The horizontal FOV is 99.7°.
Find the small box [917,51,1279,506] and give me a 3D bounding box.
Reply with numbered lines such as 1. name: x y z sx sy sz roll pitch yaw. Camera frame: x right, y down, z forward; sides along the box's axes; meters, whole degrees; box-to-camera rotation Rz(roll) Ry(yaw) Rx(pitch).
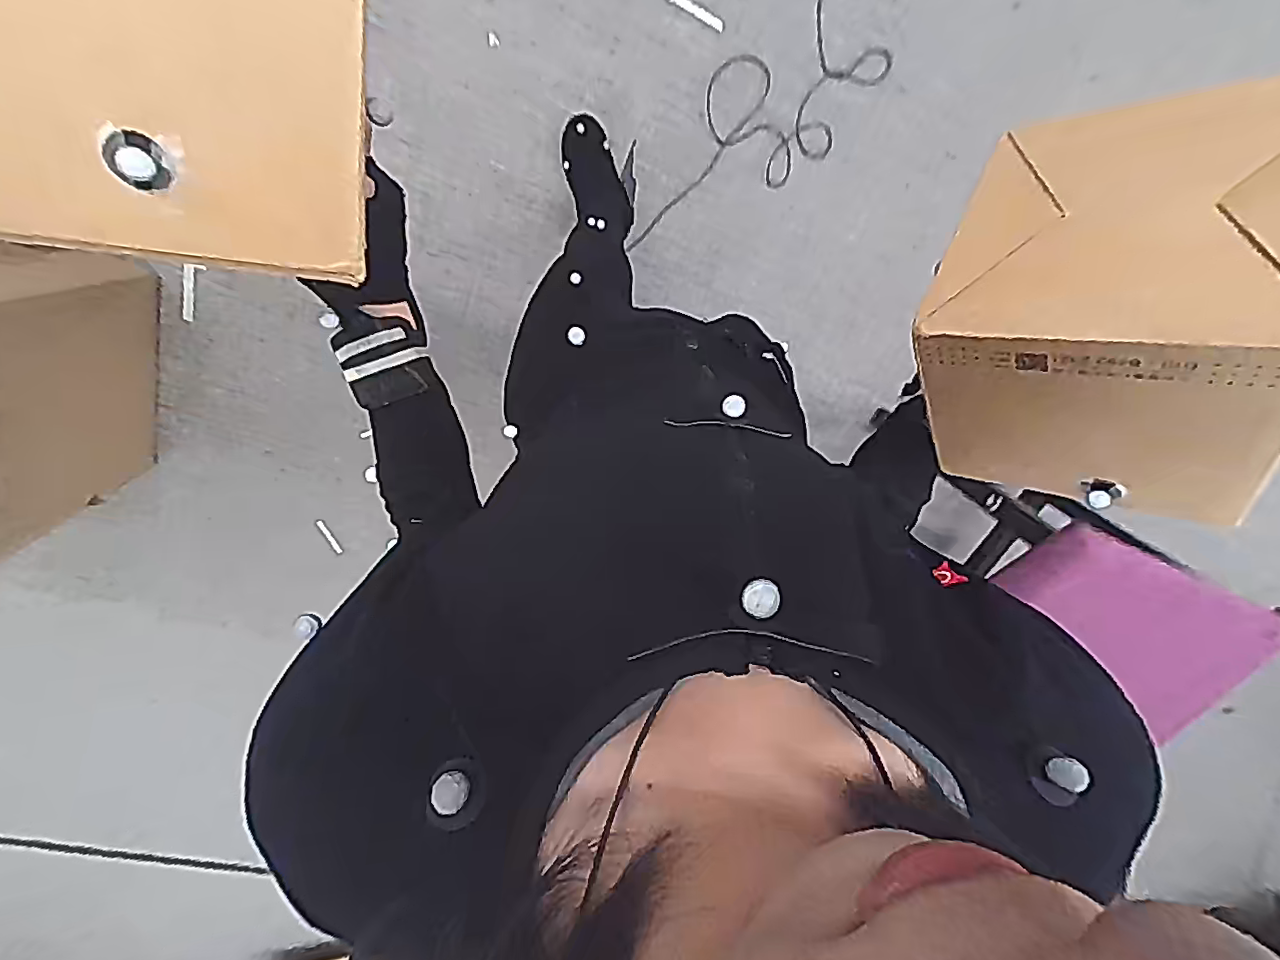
1. small box: 0.292 -0.112 0.328 0.176 0.168 0.179 41 72 -45

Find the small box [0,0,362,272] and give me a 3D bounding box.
1. small box: -0.231 -0.219 0.248 0.179 0.168 0.176 -2 127 -31
